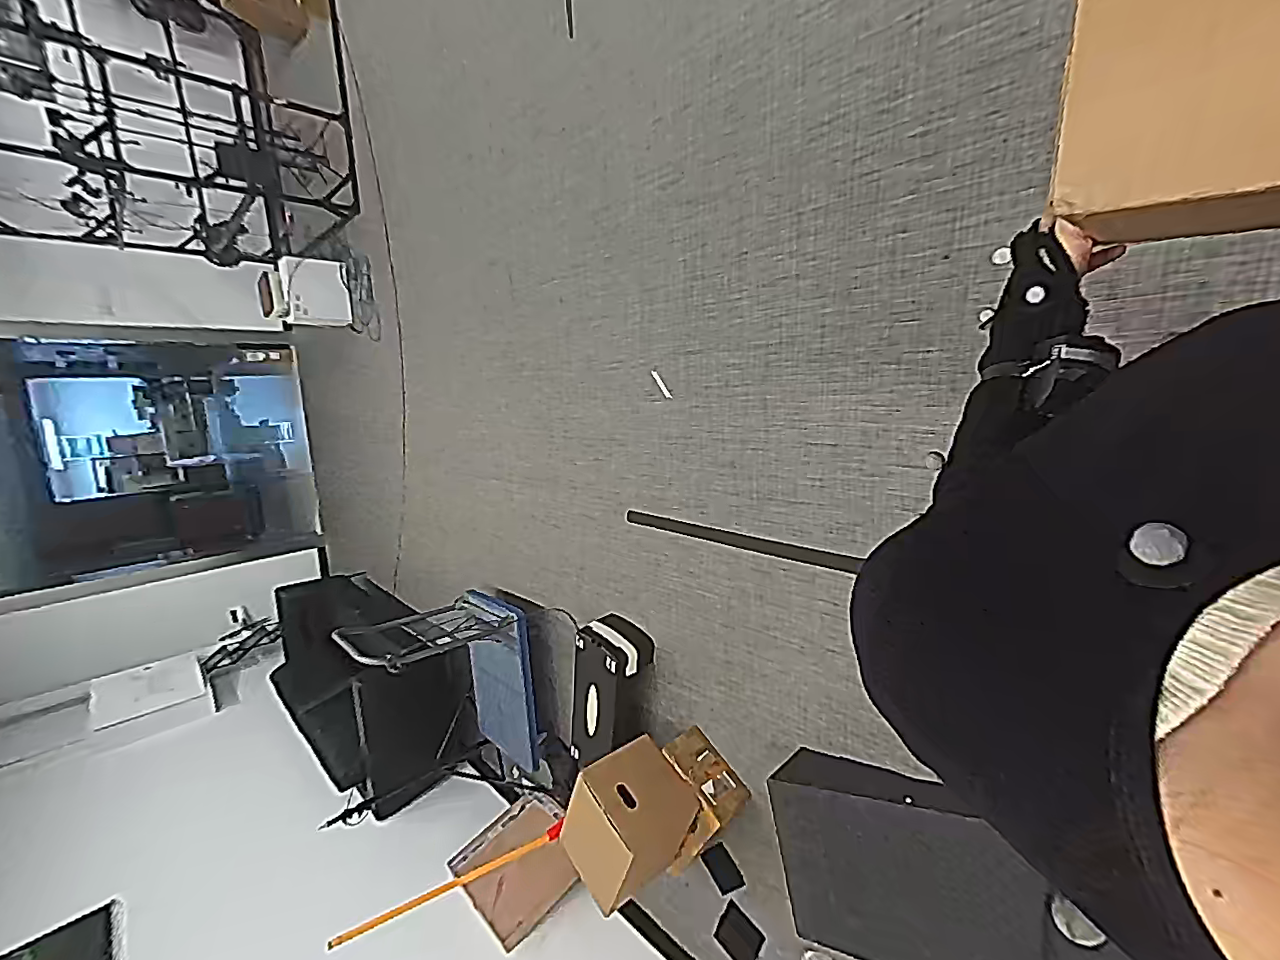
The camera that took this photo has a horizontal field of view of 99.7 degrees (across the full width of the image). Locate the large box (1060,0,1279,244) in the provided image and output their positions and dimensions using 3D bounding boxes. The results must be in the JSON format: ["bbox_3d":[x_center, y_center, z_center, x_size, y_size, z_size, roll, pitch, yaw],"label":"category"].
[{"bbox_3d":[0.438,-0.291,0.204,0.408,0.320,0.320,10,112,40],"label":"large box"}]
